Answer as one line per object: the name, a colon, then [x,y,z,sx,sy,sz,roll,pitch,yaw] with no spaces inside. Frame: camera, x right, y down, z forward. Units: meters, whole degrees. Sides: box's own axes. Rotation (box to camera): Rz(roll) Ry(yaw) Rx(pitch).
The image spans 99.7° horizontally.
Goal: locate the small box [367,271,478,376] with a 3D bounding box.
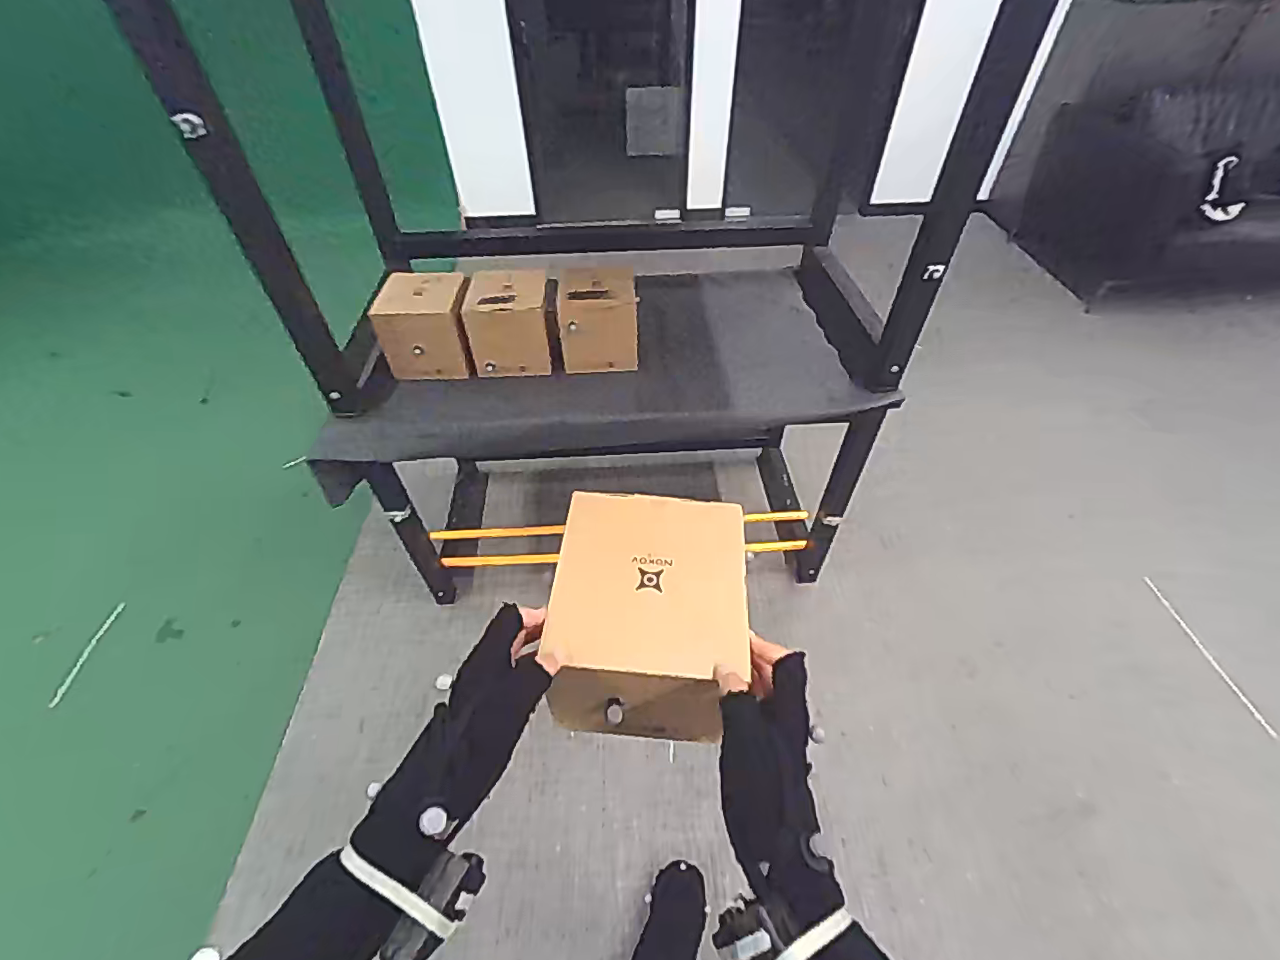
small box: [-0.468,-0.343,1.199,0.168,0.176,0.179,0,47,-1]
